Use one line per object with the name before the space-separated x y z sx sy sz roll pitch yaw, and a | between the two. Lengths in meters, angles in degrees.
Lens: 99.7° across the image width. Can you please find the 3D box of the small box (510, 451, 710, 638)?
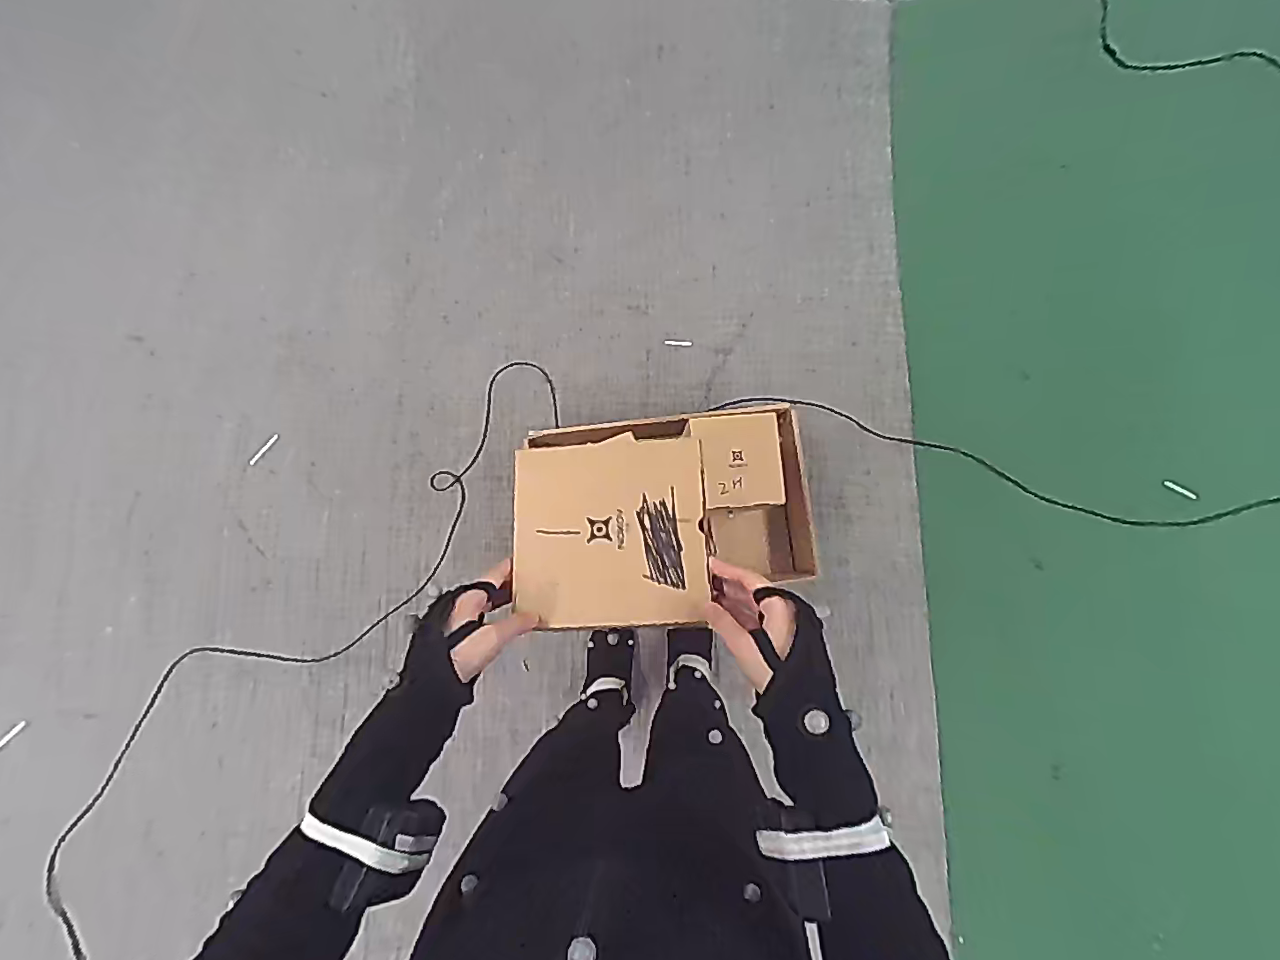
small box | -0.023 0.076 0.563 0.179 0.176 0.168 -3 73 4

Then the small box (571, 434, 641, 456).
small box | -0.069 0.025 1.075 0.179 0.176 0.168 -22 85 -4

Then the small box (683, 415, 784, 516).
small box | 0.178 -0.023 1.082 0.168 0.176 0.179 -4 83 -1
